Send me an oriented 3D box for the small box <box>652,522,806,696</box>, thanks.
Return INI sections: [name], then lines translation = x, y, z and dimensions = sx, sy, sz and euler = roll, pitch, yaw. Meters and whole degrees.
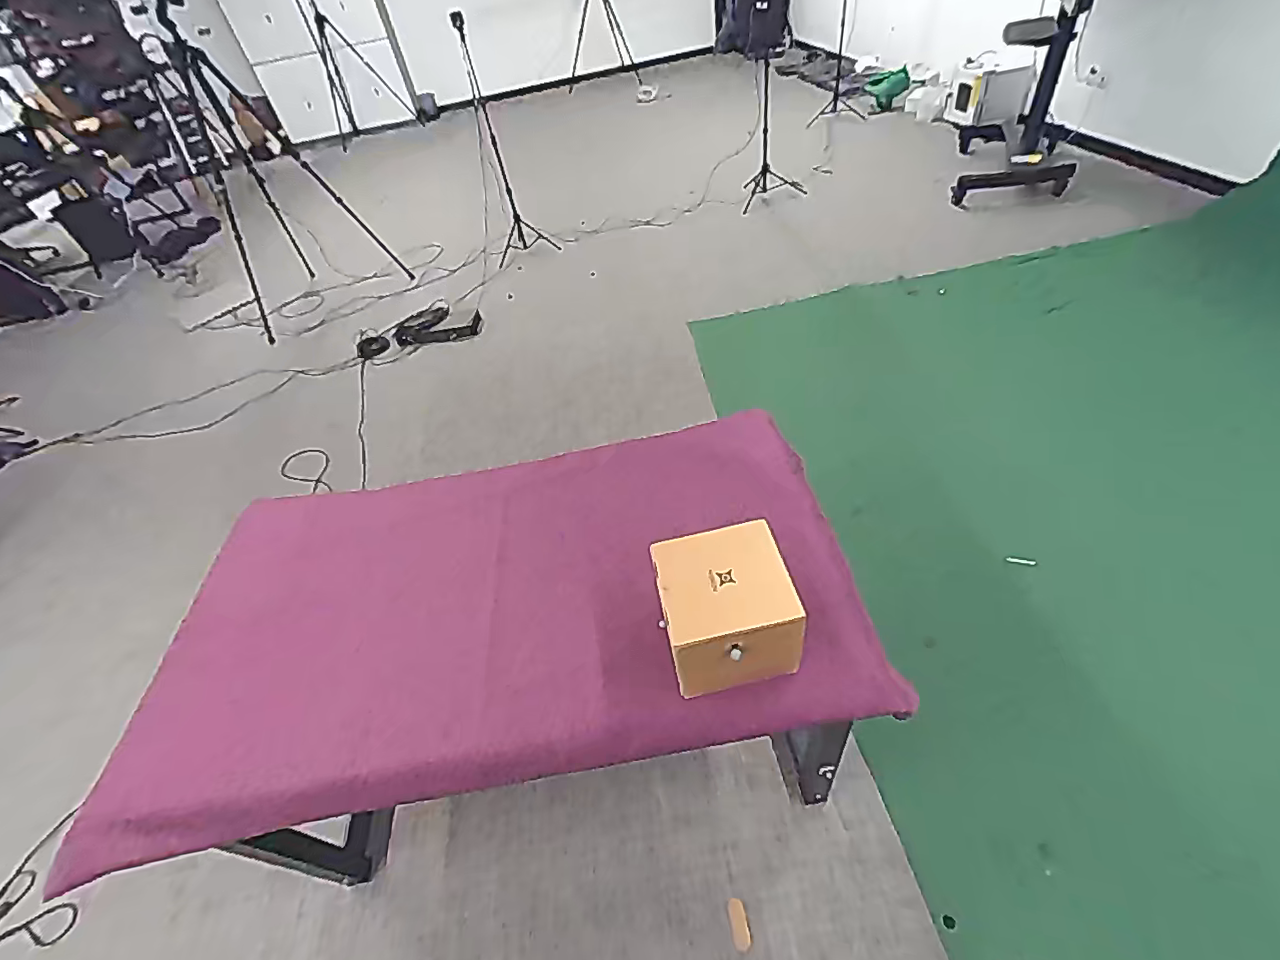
[small box]
translation = 0.127, 0.192, 0.794
dimensions = 0.179, 0.176, 0.168
euler = -15, 46, 1
